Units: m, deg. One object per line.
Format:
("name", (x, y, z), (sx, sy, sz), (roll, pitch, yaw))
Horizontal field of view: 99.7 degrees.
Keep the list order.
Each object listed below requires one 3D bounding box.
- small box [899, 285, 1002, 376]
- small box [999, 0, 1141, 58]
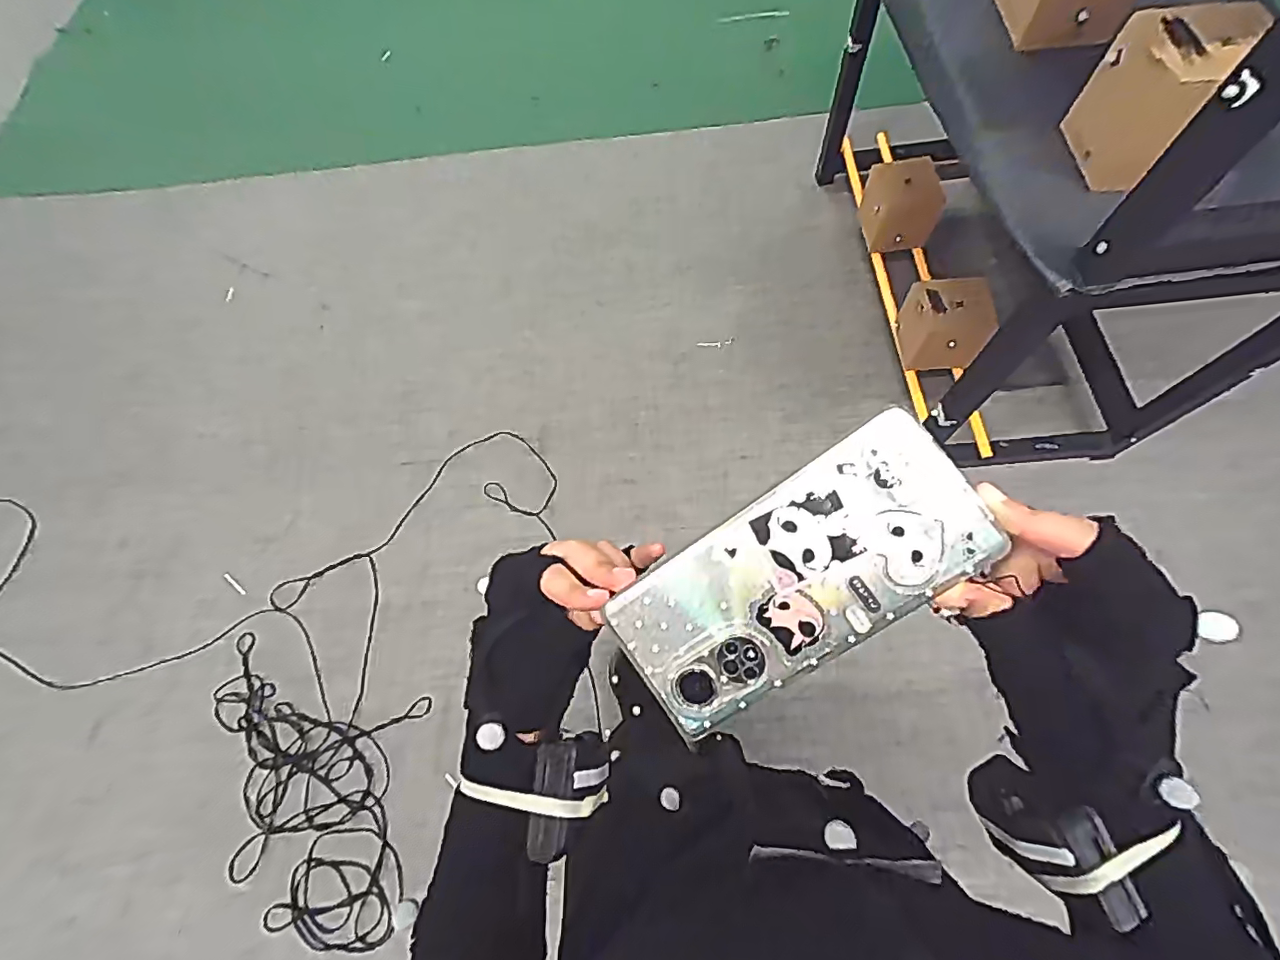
("small box", (0.804, -0.387, 1.425), (0.179, 0.176, 0.168), (-2, 67, 5))
("small box", (0.783, -0.900, 0.968), (0.168, 0.176, 0.179), (-2, 66, 5))
